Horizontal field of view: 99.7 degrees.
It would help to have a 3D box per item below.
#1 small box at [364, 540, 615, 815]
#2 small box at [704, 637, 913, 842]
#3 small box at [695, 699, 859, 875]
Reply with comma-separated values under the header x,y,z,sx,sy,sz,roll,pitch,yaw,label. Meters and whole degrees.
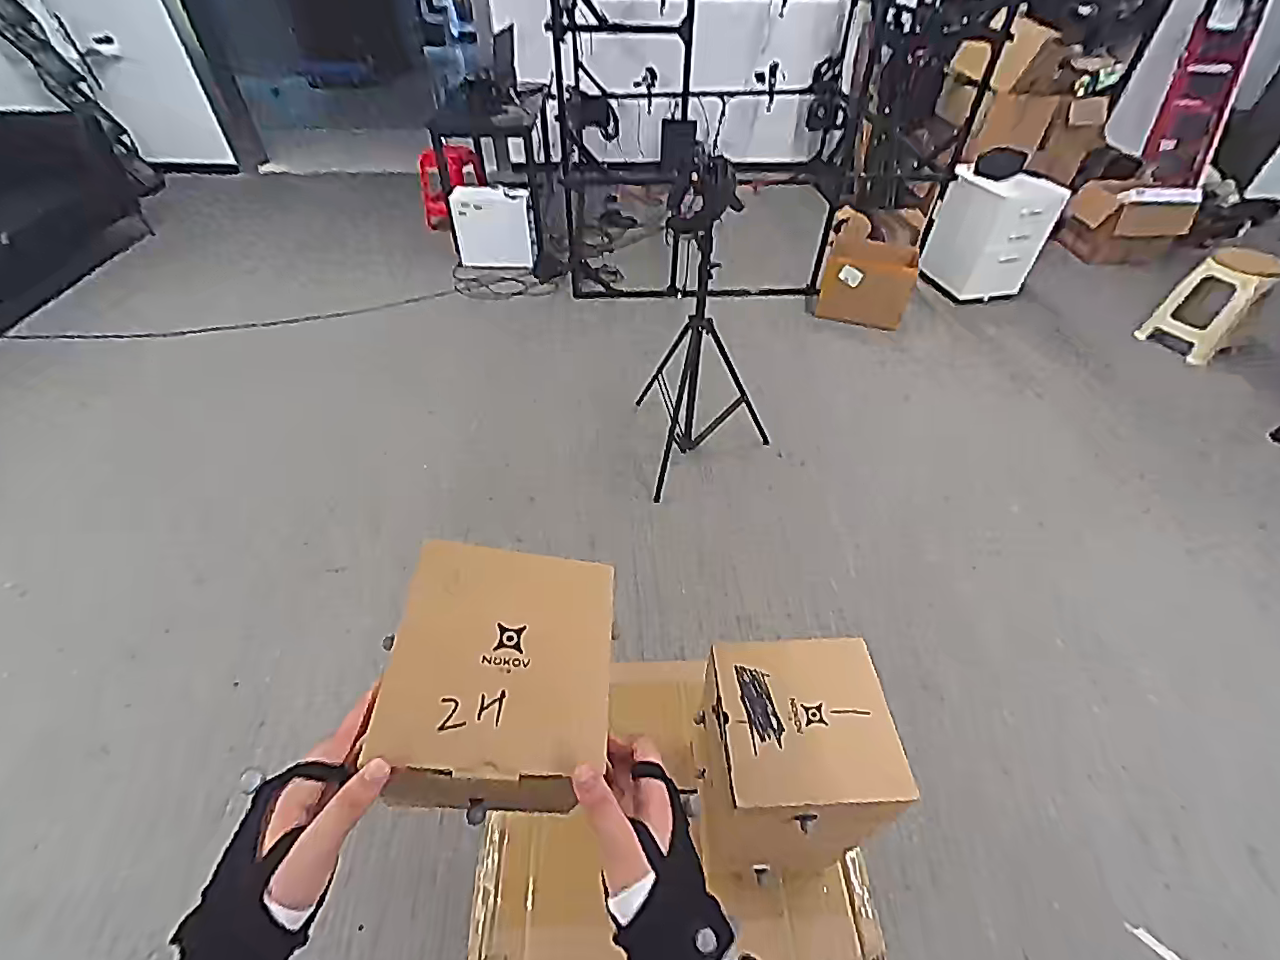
x,y,z,sx,sy,sz,roll,pitch,yaw,label
-0.123,0.180,0.479,0.168,0.176,0.179,9,50,-11,small box
0.169,0.296,0.614,0.179,0.176,0.168,-2,45,-1,small box
0.167,0.412,0.732,0.168,0.176,0.179,-3,46,-1,small box
